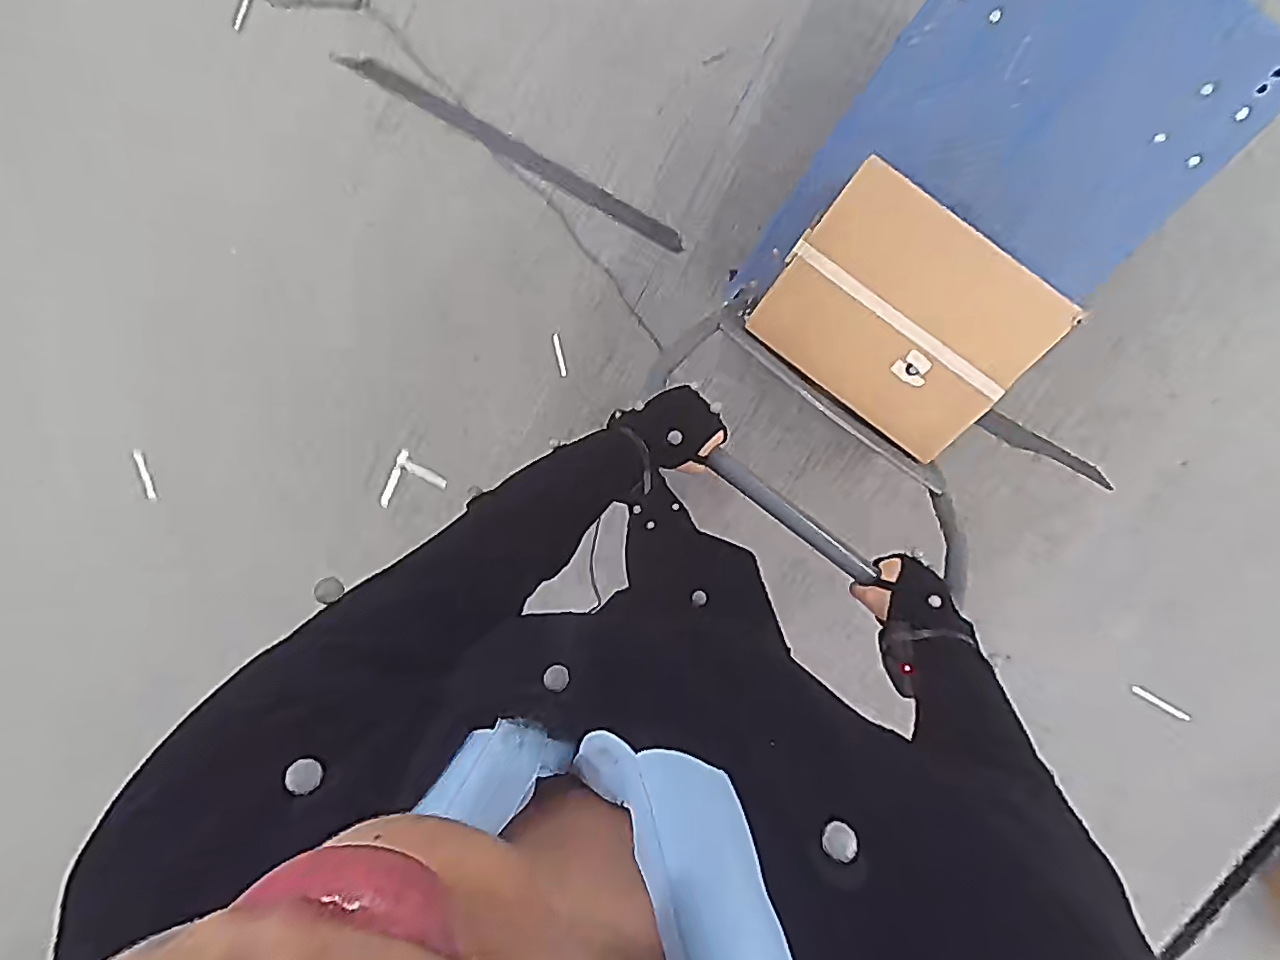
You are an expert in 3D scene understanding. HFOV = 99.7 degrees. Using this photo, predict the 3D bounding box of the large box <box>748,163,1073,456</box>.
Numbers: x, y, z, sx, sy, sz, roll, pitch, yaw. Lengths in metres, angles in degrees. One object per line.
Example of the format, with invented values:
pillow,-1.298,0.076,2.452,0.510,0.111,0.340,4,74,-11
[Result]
large box,0.467,-0.319,1.031,0.408,0.320,0.320,37,117,0
